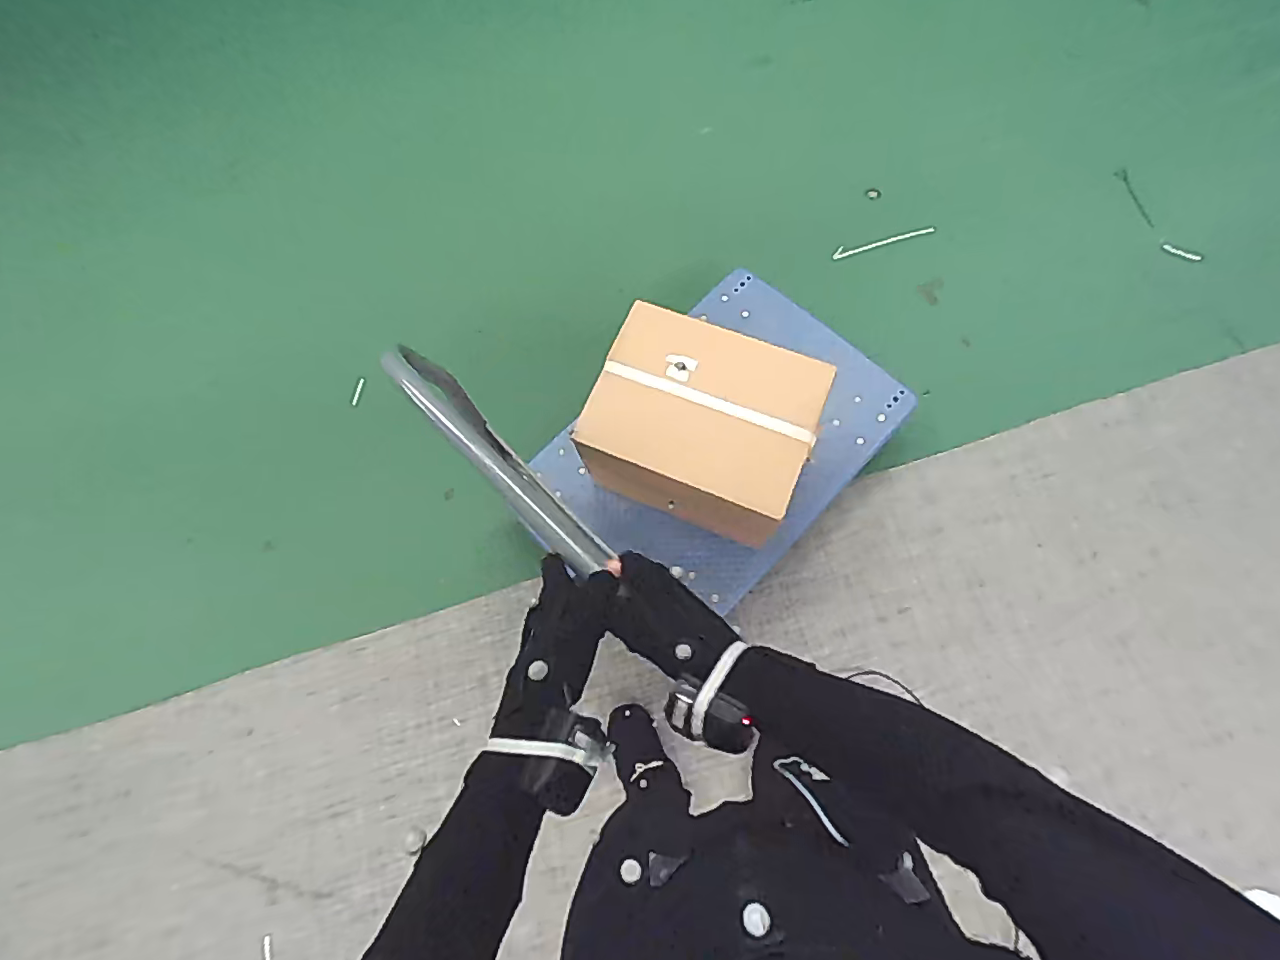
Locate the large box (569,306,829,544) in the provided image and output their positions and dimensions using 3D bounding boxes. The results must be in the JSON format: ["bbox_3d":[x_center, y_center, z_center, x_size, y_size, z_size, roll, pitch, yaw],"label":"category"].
[{"bbox_3d":[0.122,-0.097,1.131,0.408,0.320,0.320,22,76,11],"label":"large box"}]
